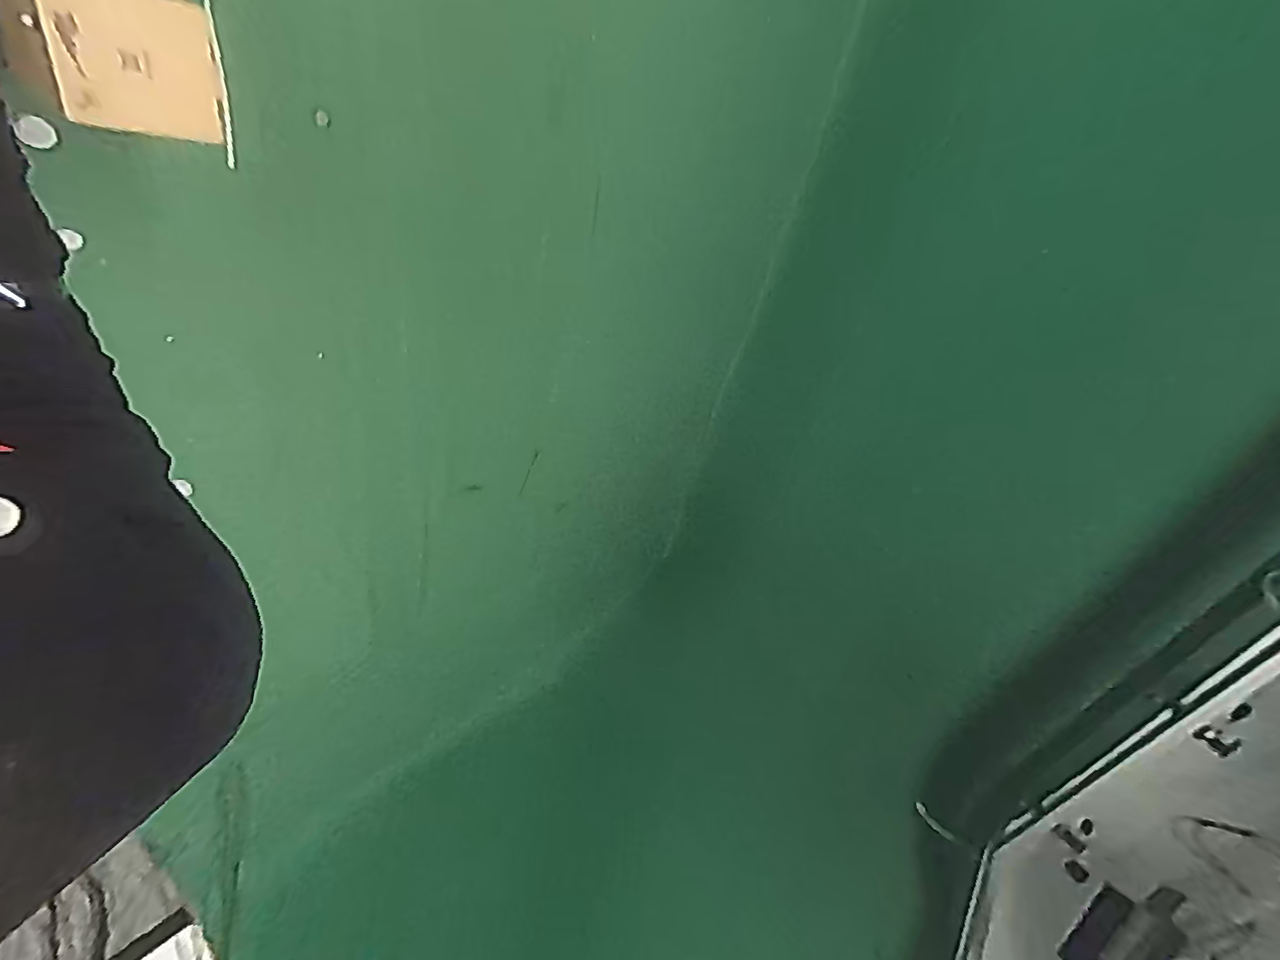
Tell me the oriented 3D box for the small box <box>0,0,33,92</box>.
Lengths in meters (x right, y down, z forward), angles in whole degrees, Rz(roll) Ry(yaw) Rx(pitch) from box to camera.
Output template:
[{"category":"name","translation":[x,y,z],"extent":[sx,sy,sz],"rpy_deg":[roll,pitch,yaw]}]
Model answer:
[{"category":"small box","translation":[-0.853,-0.682,0.821],"extent":[0.179,0.176,0.168],"rpy_deg":[-22,138,-45]}]

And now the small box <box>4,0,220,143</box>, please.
[{"category":"small box","translation":[-0.731,-0.597,0.752],"extent":[0.179,0.176,0.168],"rpy_deg":[-24,139,-47]}]
